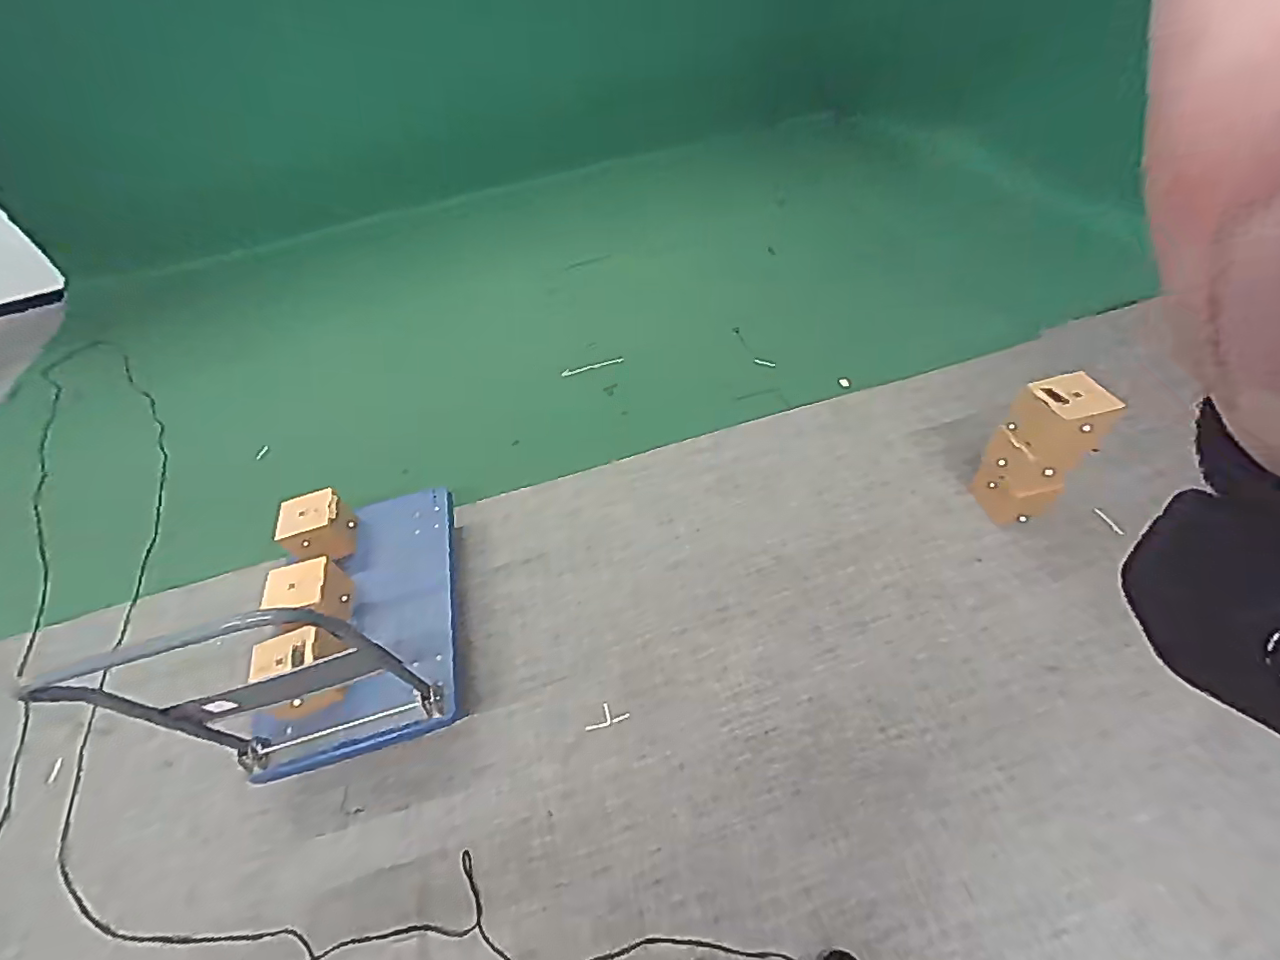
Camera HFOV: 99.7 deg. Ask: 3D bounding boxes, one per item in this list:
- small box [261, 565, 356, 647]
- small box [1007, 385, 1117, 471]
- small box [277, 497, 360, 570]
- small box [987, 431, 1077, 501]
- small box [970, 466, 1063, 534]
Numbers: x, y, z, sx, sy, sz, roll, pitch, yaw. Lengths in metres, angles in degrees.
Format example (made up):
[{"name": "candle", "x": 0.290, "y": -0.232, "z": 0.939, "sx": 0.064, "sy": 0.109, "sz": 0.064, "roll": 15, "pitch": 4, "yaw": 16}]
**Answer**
[{"name": "small box", "x": -1.011, "y": 0.392, "z": 1.663, "sx": 0.179, "sy": 0.176, "sz": 0.168, "roll": -15, "pitch": 49, "yaw": -5}, {"name": "small box", "x": 1.220, "y": -0.148, "z": 1.586, "sx": 0.179, "sy": 0.176, "sz": 0.168, "roll": -14, "pitch": 49, "yaw": -2}, {"name": "small box", "x": -1.088, "y": 0.192, "z": 1.843, "sx": 0.179, "sy": 0.176, "sz": 0.168, "roll": -16, "pitch": 50, "yaw": -5}, {"name": "small box", "x": 1.230, "y": -0.056, "z": 1.702, "sx": 0.179, "sy": 0.176, "sz": 0.168, "roll": -14, "pitch": 48, "yaw": 0}, {"name": "small box", "x": 1.256, "y": 0.054, "z": 1.821, "sx": 0.168, "sy": 0.176, "sz": 0.179, "roll": -13, "pitch": 48, "yaw": -1}]
